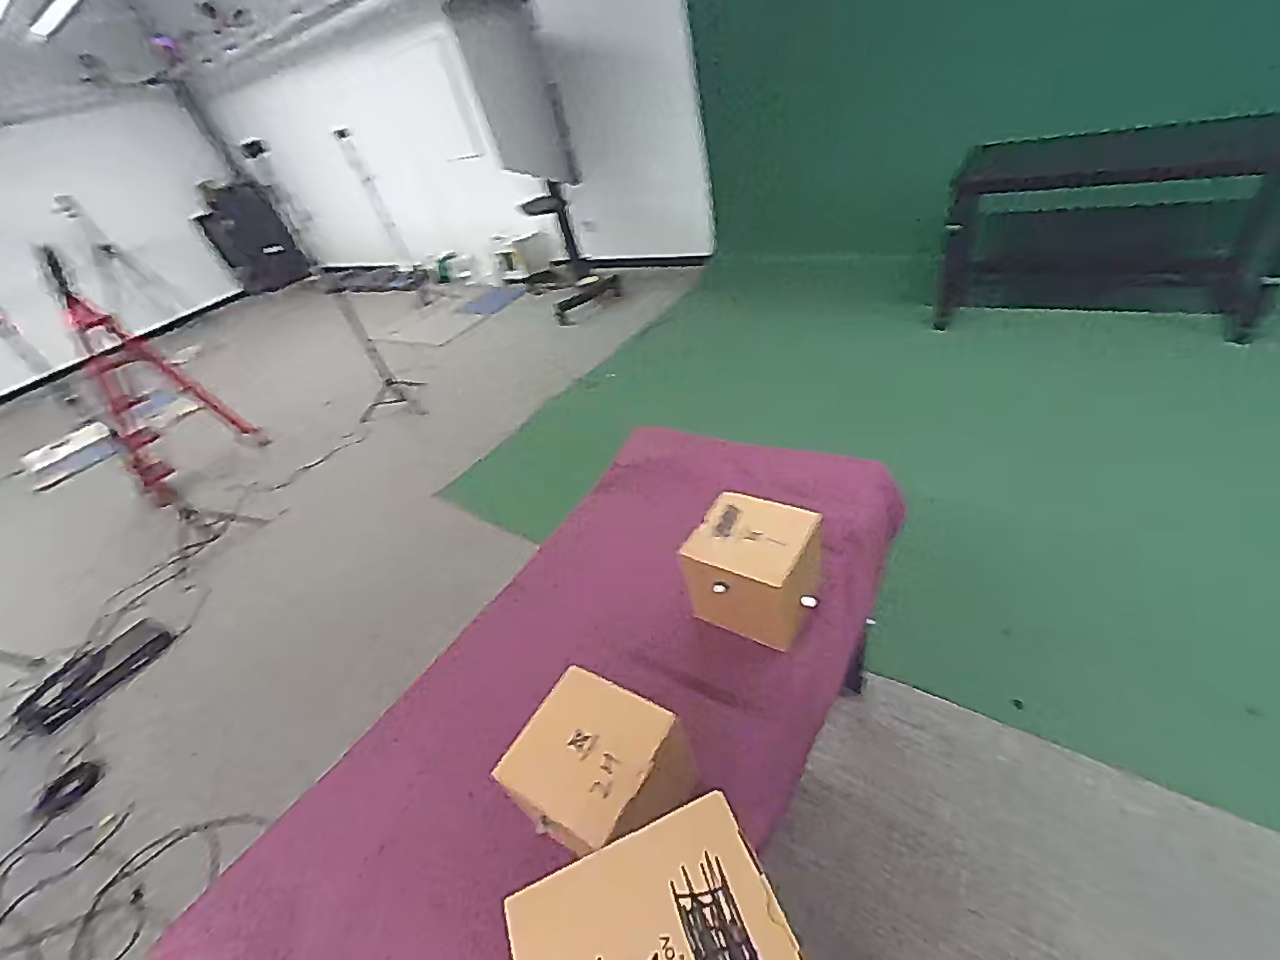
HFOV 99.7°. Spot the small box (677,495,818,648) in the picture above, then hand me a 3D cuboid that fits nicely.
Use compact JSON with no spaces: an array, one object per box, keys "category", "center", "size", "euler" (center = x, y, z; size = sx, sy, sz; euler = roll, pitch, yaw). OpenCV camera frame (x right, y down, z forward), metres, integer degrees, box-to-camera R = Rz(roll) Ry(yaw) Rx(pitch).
[{"category":"small box","center":[0.189,0.154,0.915],"size":[0.179,0.176,0.168],"euler":[14,47,33]}]

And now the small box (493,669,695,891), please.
[{"category":"small box","center":[-0.050,0.386,0.703],"size":[0.179,0.176,0.168],"euler":[12,46,34]}]
